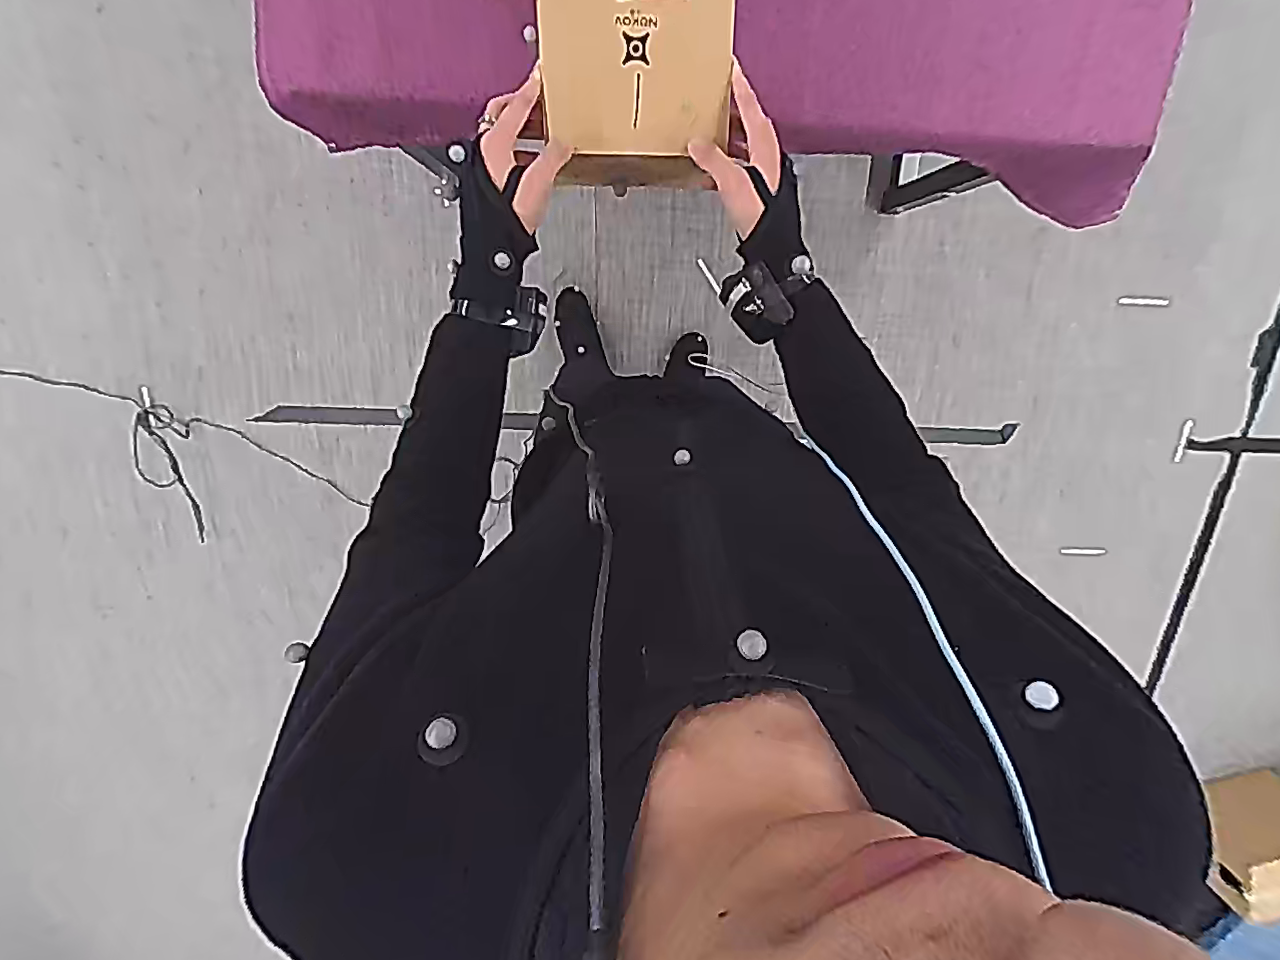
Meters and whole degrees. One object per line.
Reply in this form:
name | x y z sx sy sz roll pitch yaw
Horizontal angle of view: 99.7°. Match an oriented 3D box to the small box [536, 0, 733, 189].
small box | -0.015 -0.397 0.524 0.168 0.176 0.179 -2 110 -7
